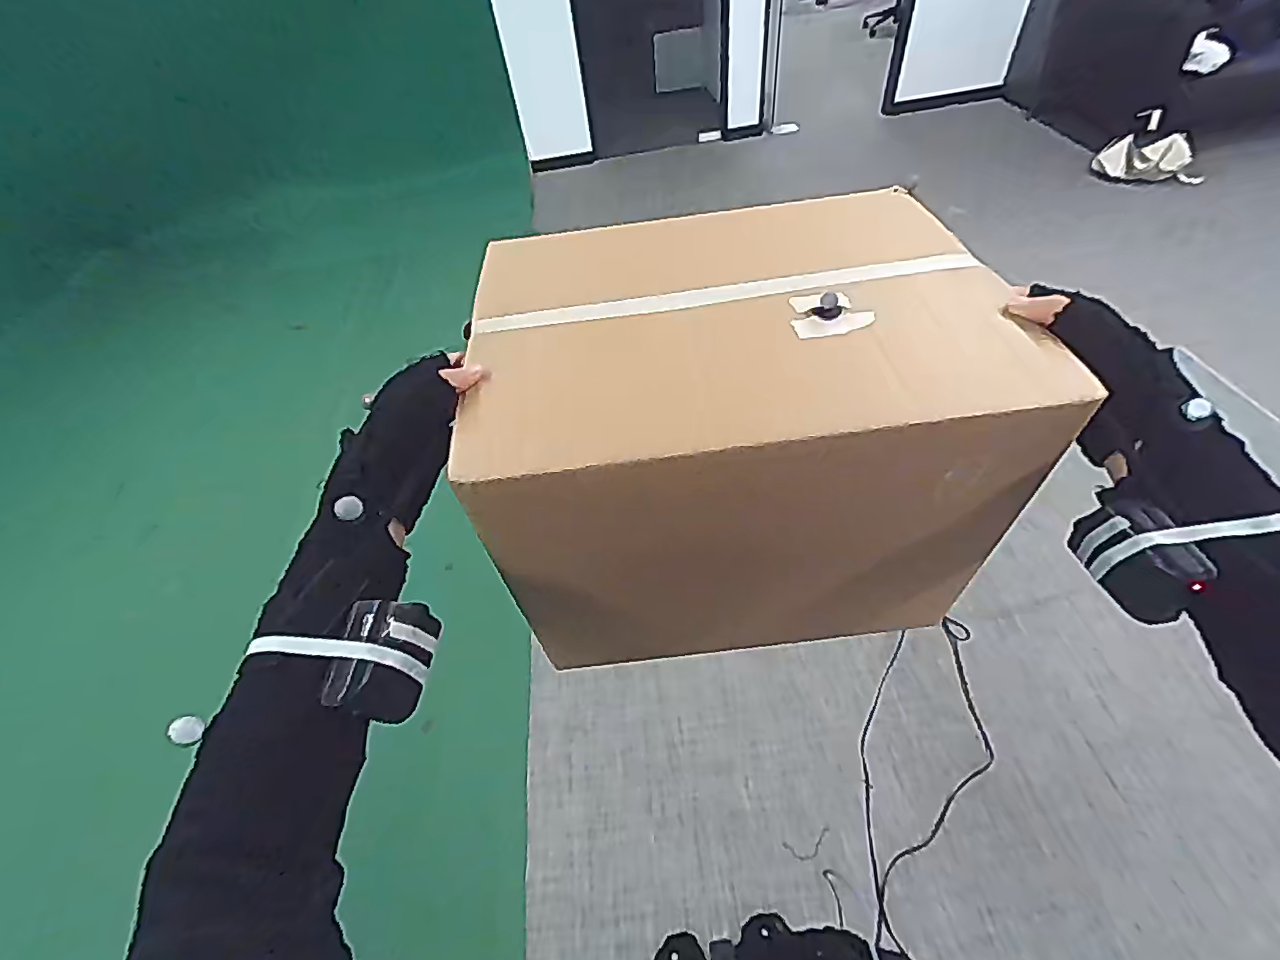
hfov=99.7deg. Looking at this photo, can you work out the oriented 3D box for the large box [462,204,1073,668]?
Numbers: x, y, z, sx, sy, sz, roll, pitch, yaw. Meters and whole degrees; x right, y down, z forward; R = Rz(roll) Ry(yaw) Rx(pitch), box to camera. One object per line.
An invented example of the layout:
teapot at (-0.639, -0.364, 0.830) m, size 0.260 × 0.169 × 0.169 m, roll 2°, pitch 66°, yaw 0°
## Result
large box at (0.078, -0.037, 0.549) m, size 0.408 × 0.320 × 0.320 m, roll -7°, pitch 50°, yaw 0°
